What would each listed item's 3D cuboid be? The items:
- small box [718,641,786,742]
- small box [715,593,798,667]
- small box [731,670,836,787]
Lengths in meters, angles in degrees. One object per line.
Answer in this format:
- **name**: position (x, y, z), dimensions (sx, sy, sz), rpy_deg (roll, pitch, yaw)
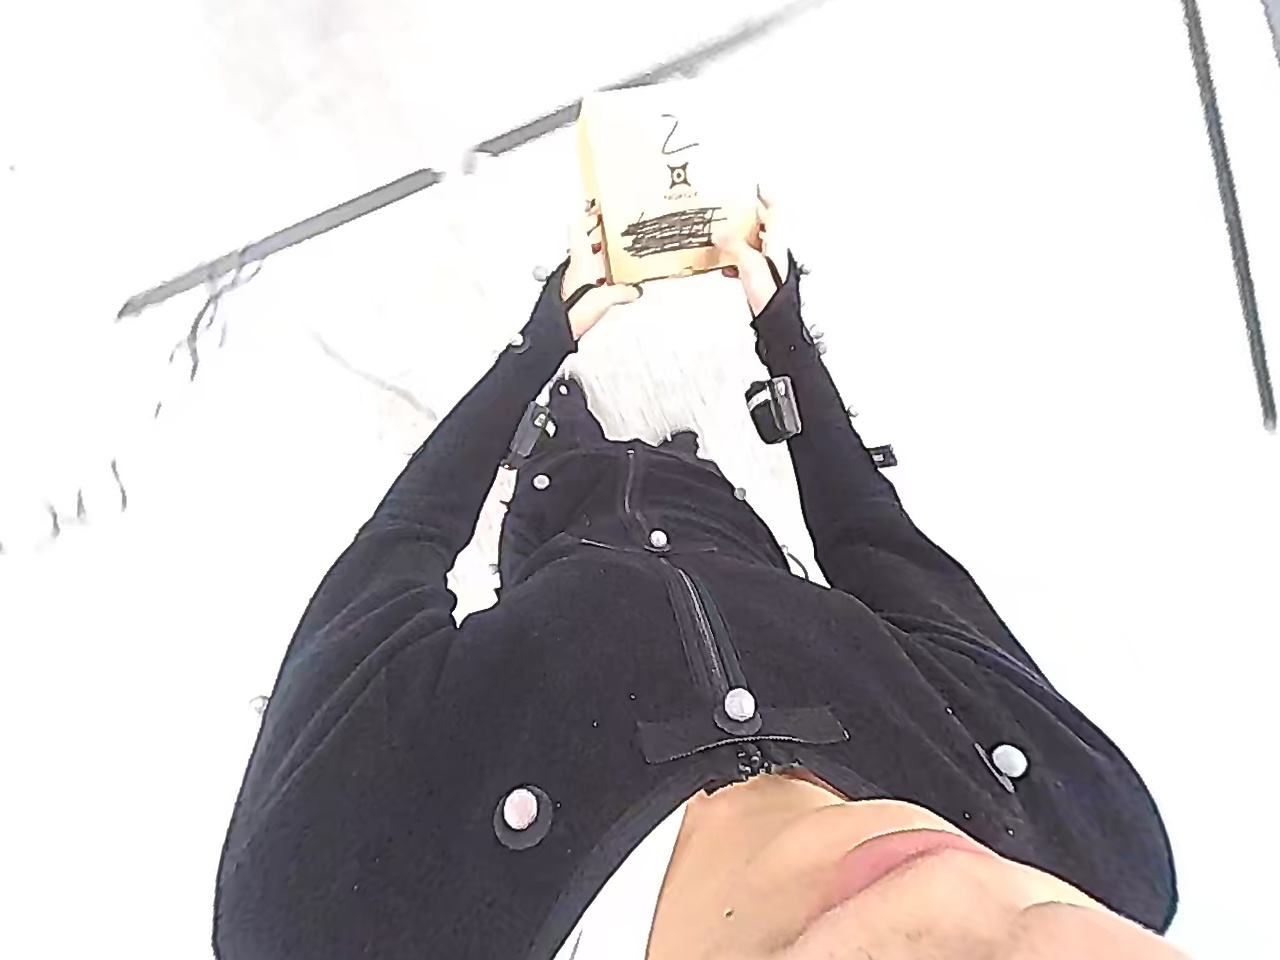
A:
- **small box**: position (0.329, 0.581, 1.503), dimensions (0.168, 0.176, 0.179), rpy_deg (-18, 101, 1)
- **small box**: position (0.350, 0.478, 1.650), dimensions (0.168, 0.176, 0.179), rpy_deg (-33, 100, 4)
- **small box**: position (0.349, 0.606, 1.341), dimensions (0.179, 0.176, 0.168), rpy_deg (-26, 101, 2)
